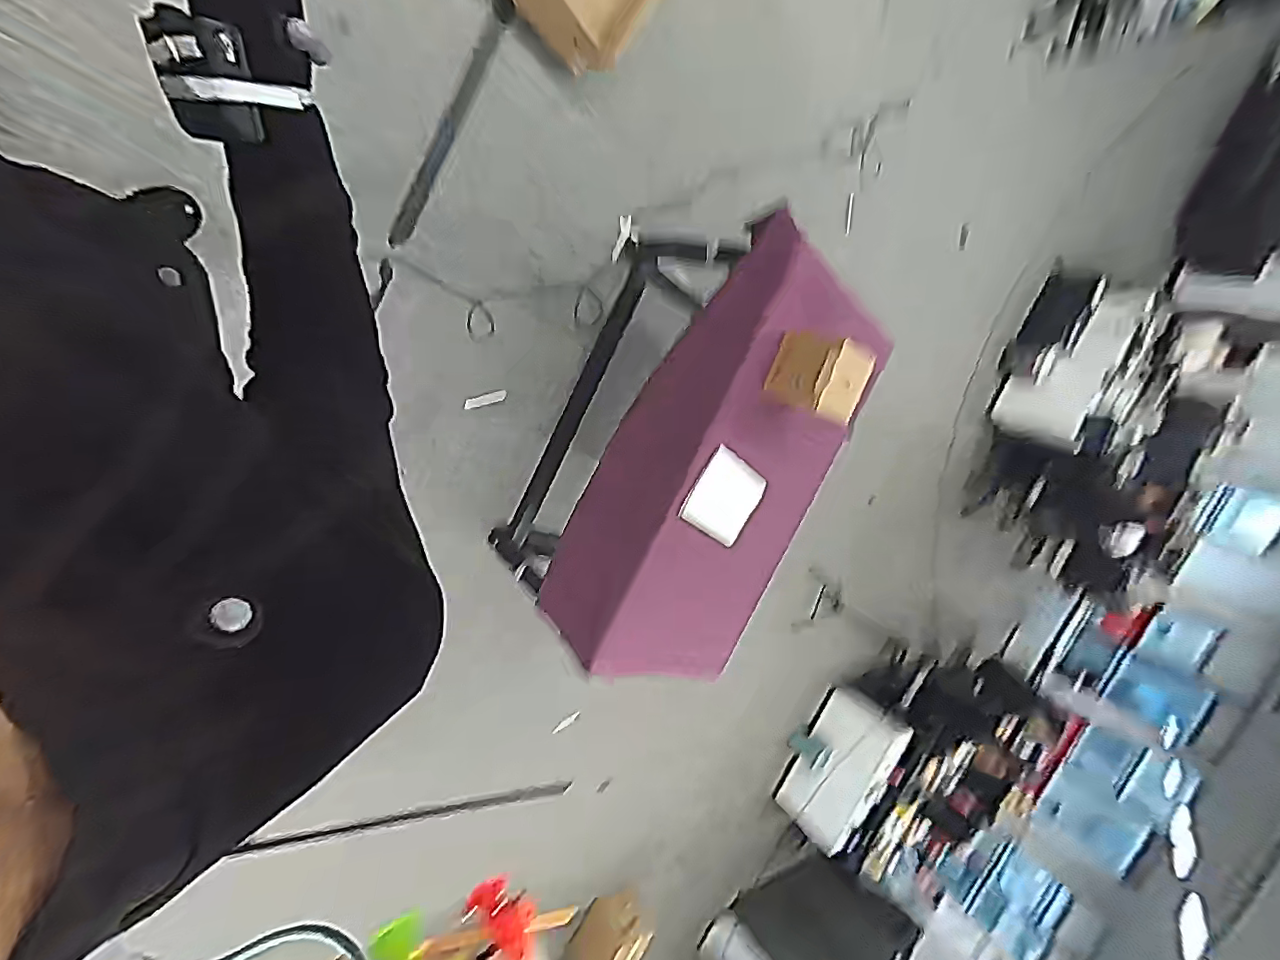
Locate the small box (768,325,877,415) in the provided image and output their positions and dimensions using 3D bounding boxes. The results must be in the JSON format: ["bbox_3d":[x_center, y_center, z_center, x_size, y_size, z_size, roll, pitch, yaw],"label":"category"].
[{"bbox_3d":[0.456,-0.281,1.365,0.179,0.176,0.168,10,107,-43],"label":"small box"}]
